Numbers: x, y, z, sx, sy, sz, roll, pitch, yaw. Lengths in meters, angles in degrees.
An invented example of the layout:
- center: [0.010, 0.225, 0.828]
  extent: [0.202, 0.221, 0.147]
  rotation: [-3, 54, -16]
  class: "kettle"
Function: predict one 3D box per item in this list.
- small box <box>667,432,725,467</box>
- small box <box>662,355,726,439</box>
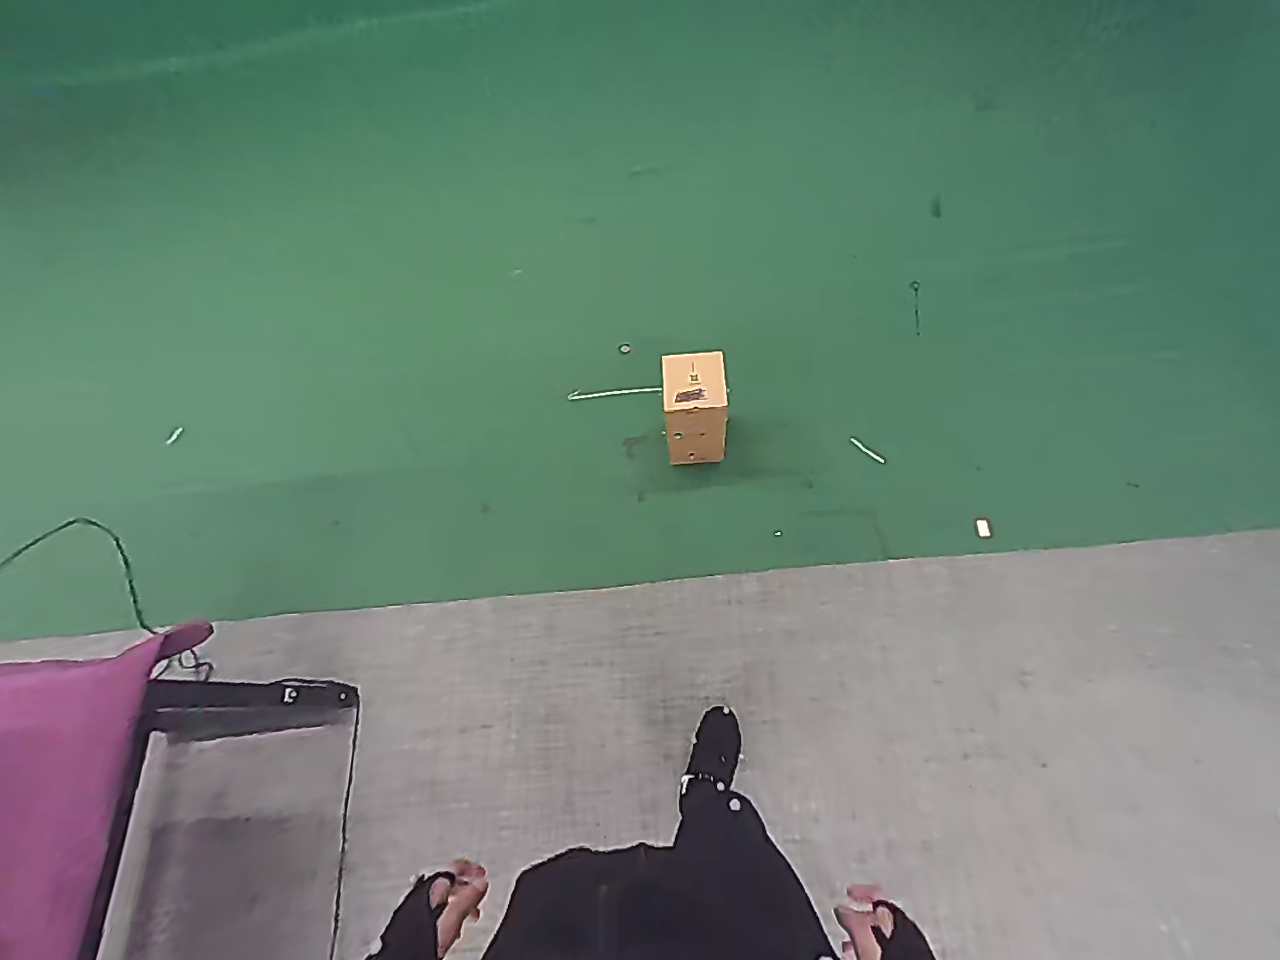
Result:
- center: [0.166, -0.157, 1.647]
  extent: [0.168, 0.176, 0.179]
  rotation: [-4, 67, 4]
  class: "small box"
- center: [0.149, -0.221, 1.497]
  extent: [0.168, 0.176, 0.179]
  rotation: [-3, 66, 4]
  class: "small box"
